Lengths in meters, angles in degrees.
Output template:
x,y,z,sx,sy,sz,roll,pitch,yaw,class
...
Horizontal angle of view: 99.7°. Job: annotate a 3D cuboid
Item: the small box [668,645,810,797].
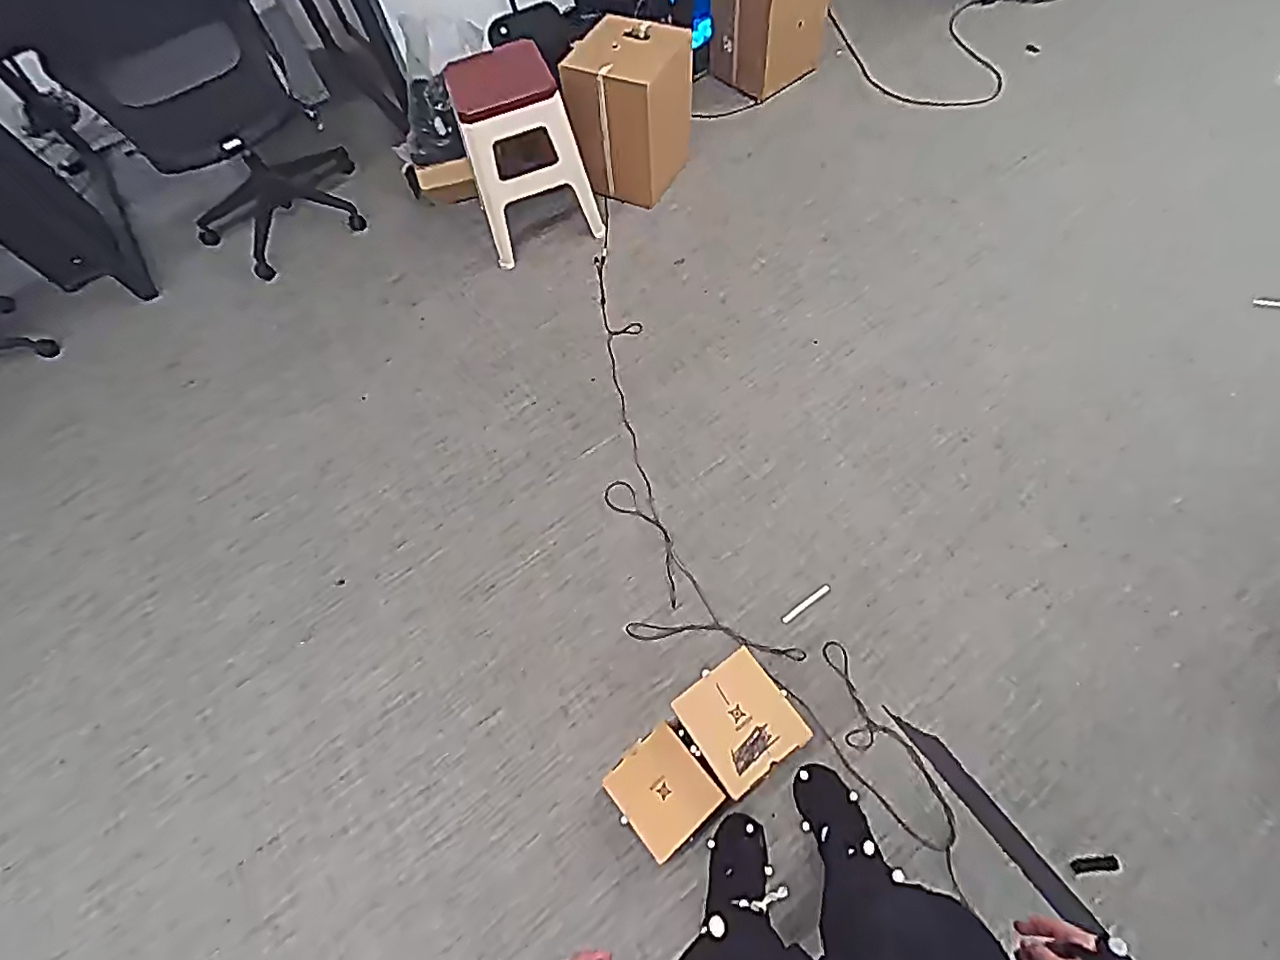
x,y,z,sx,sy,sz,roll,pitch,yaw,class
0.170,0.422,0.958,0.168,0.176,0.179,-34,65,-10,small box
